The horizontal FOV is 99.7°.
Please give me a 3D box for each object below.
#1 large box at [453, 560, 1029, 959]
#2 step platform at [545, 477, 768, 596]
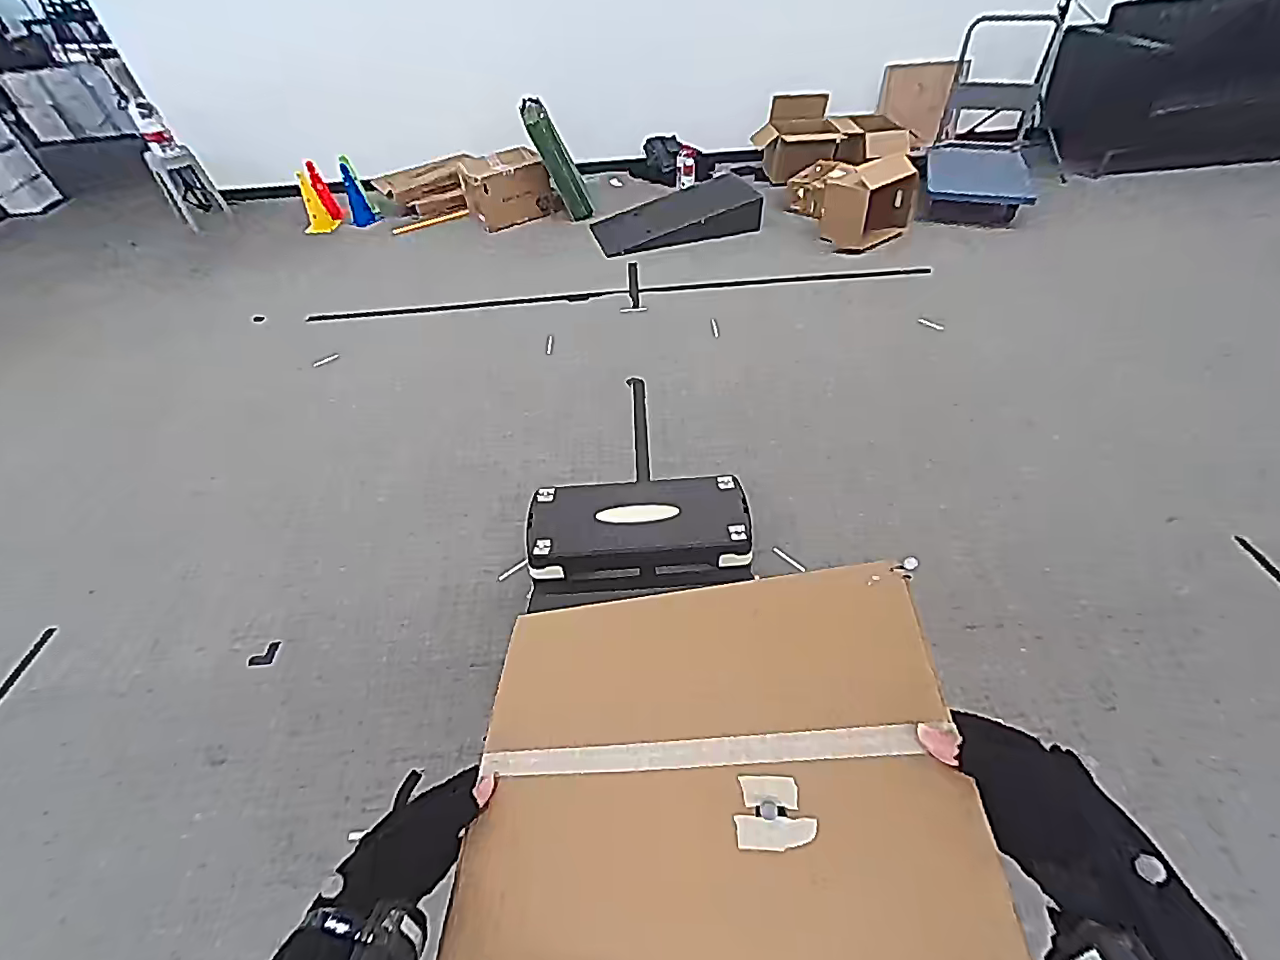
[{"bbox_3d":[0.098,0.325,0.559,0.408,0.320,0.320,-12,45,17],"label":"large box"},{"bbox_3d":[0.048,0.169,1.692,0.684,0.204,0.286,-4,47,0],"label":"step platform"}]
